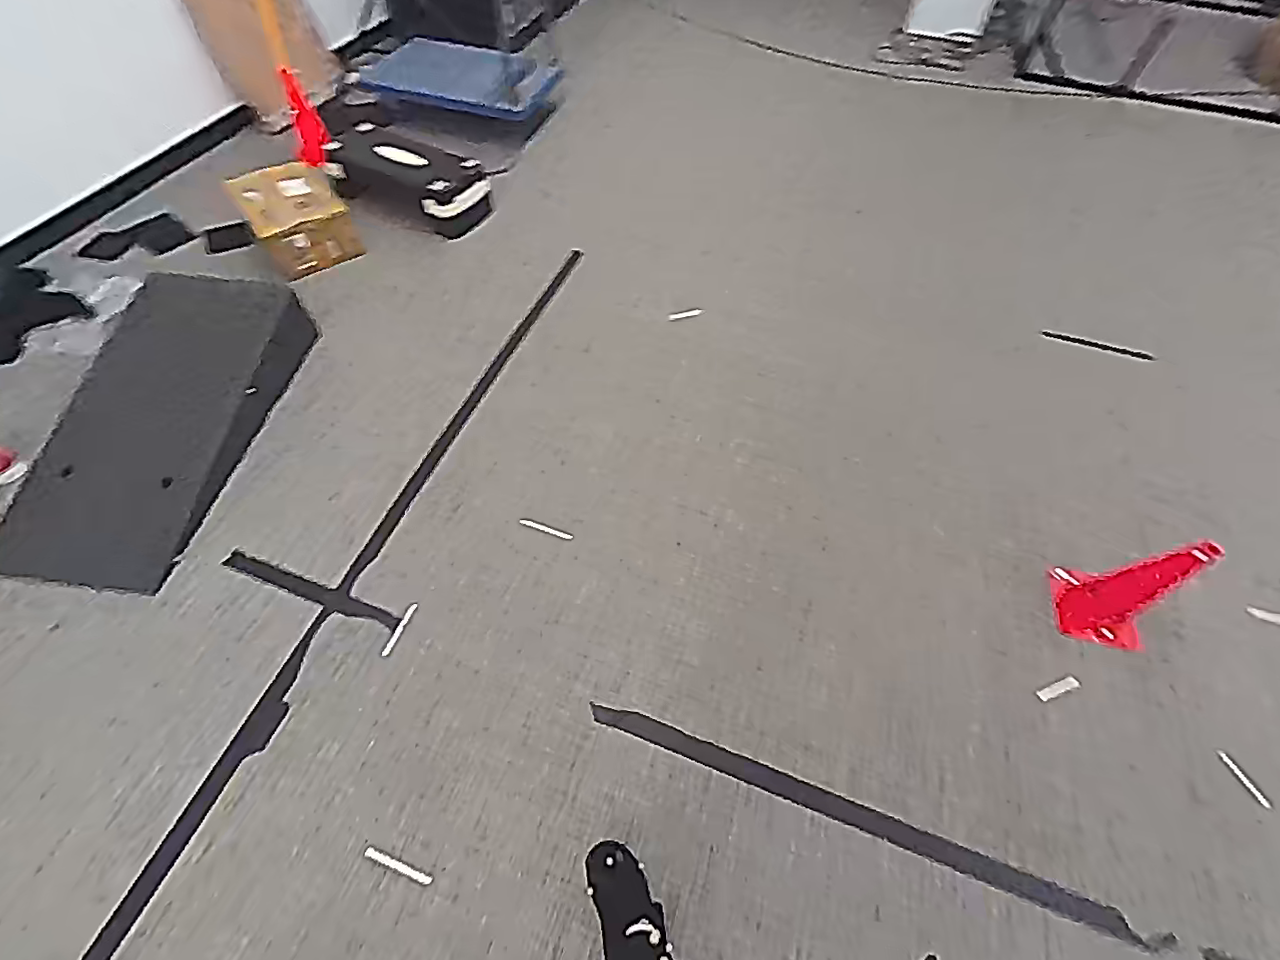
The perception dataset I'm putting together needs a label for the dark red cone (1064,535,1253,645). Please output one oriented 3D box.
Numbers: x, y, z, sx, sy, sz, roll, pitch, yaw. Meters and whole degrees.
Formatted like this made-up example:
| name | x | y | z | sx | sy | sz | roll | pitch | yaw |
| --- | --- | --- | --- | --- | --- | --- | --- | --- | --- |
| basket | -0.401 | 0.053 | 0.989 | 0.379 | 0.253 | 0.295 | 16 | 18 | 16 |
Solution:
| name | x | y | z | sx | sy | sz | roll | pitch | yaw |
| --- | --- | --- | --- | --- | --- | --- | --- | --- | --- |
| dark red cone | 1.215 | 0.228 | 1.260 | 0.202 | 0.394 | 0.201 | 12 | 58 | 6 |
